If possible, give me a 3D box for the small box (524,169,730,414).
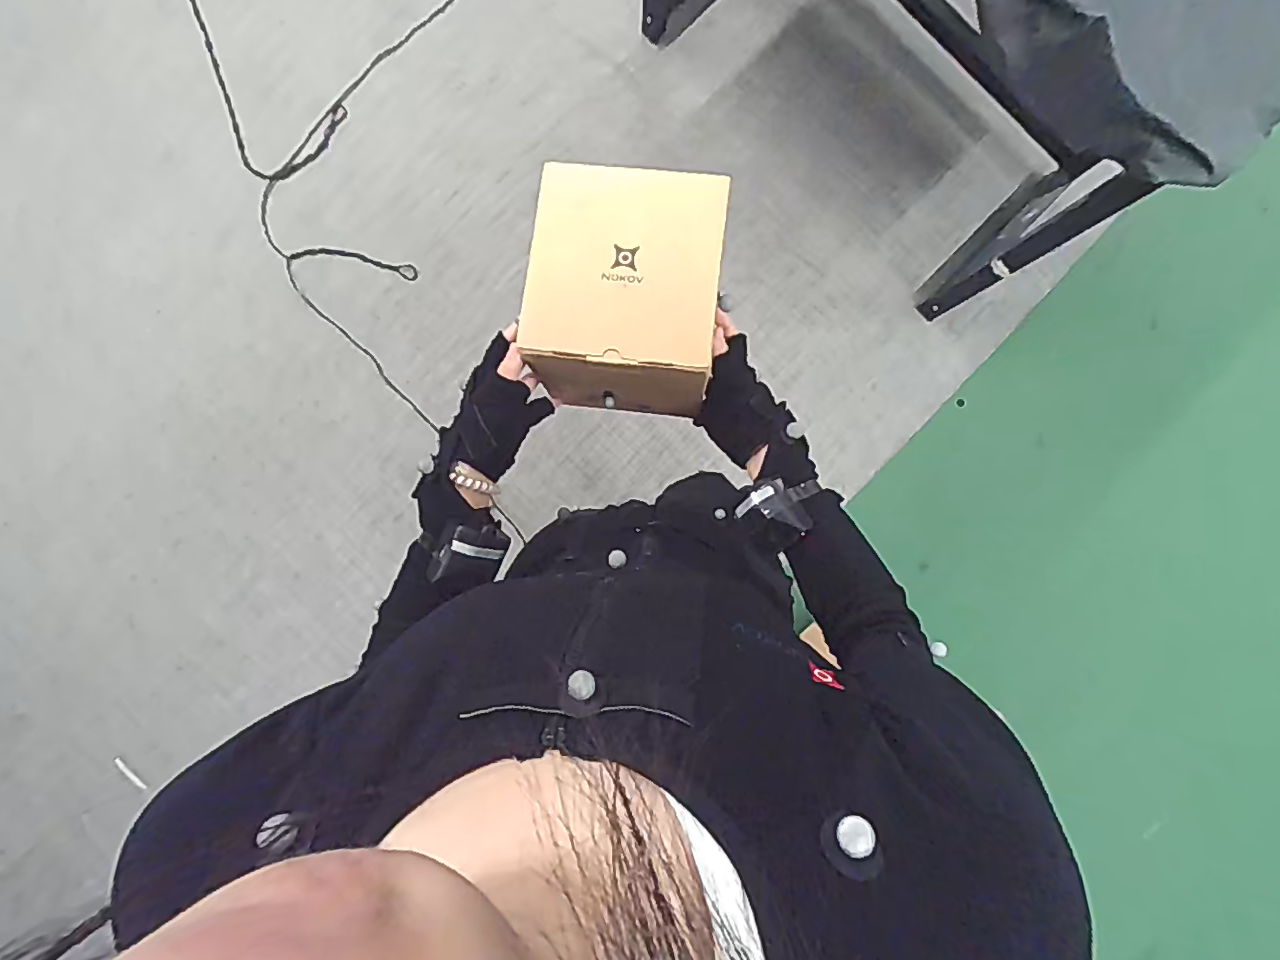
[{"bbox_3d":[-0.008,-0.179,0.556,0.168,0.176,0.179,6,85,3],"label":"small box"}]
